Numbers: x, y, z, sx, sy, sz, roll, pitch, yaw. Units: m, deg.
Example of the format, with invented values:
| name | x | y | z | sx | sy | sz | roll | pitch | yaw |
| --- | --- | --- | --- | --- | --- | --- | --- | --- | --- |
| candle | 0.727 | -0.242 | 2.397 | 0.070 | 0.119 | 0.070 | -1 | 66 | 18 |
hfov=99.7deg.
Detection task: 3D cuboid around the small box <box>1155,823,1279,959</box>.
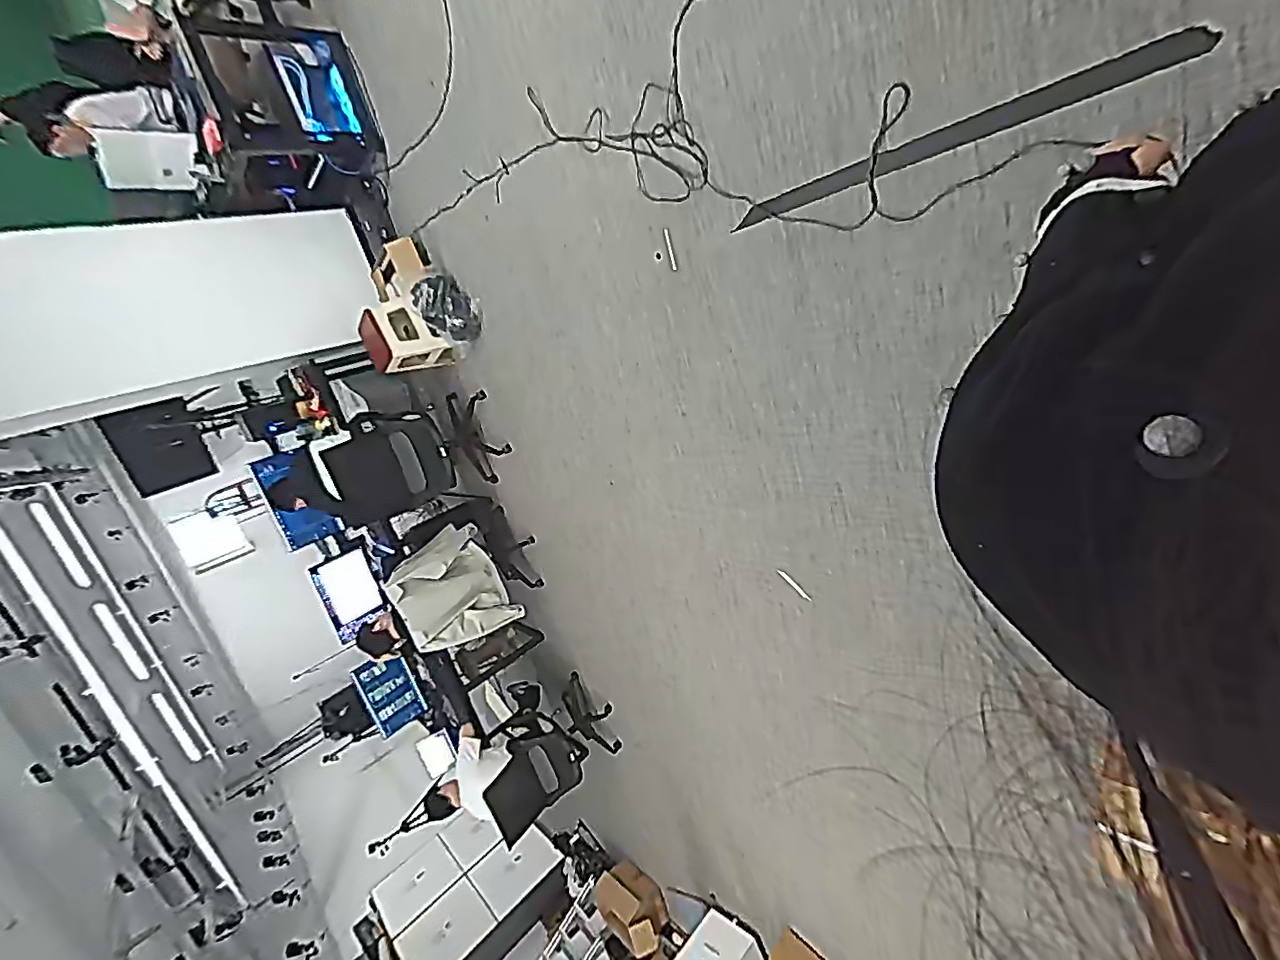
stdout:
| name | x | y | z | sx | sy | sz | roll | pitch | yaw |
| --- | --- | --- | --- | --- | --- | --- | --- | --- | --- |
| small box | 1.153 | 0.833 | 1.073 | 0.179 | 0.176 | 0.168 | 3 | 113 | 50 |
